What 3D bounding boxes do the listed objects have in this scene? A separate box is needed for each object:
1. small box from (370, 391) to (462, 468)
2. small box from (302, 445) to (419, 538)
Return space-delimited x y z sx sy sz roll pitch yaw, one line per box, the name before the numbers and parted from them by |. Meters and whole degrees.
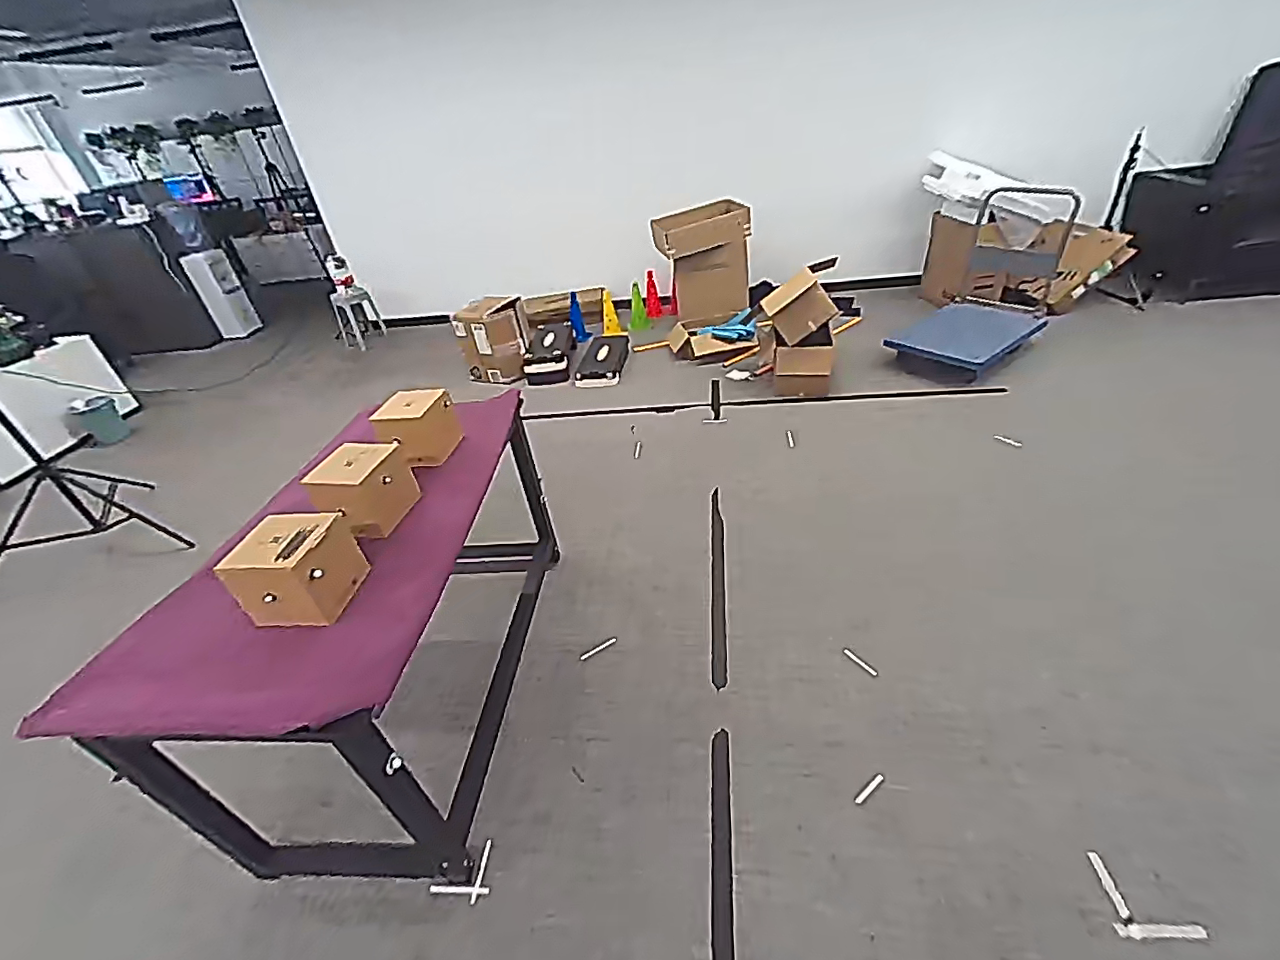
small box | -0.652 -0.146 1.599 0.168 0.176 0.179 -2 35 11
small box | -0.689 0.028 1.358 0.168 0.176 0.179 2 36 13
